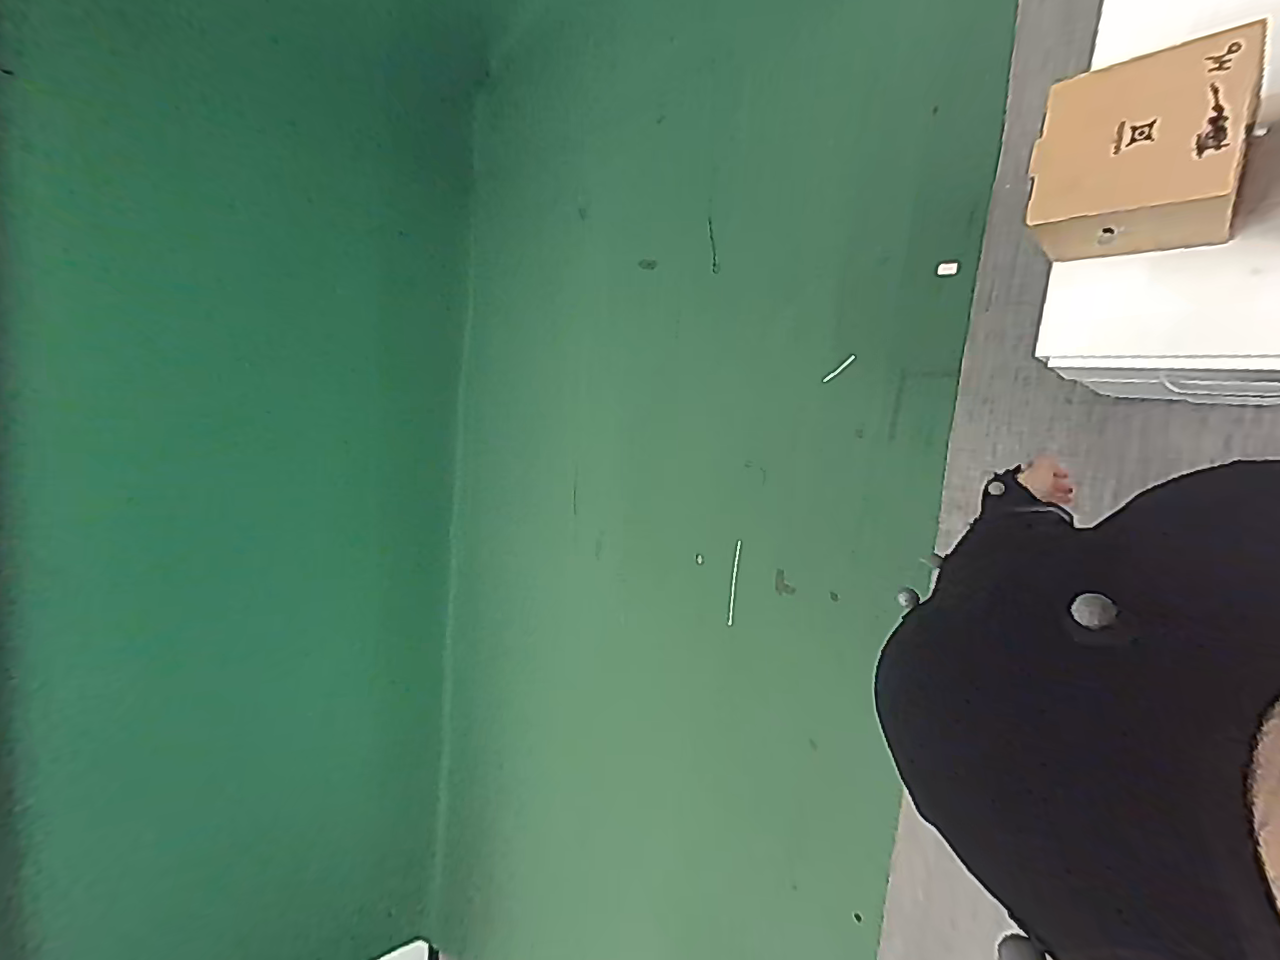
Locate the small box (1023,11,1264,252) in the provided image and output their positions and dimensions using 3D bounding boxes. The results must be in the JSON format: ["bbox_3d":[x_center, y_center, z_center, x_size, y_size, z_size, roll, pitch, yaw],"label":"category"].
[{"bbox_3d":[0.597,-0.387,0.646,0.179,0.176,0.168,13,101,47],"label":"small box"}]
